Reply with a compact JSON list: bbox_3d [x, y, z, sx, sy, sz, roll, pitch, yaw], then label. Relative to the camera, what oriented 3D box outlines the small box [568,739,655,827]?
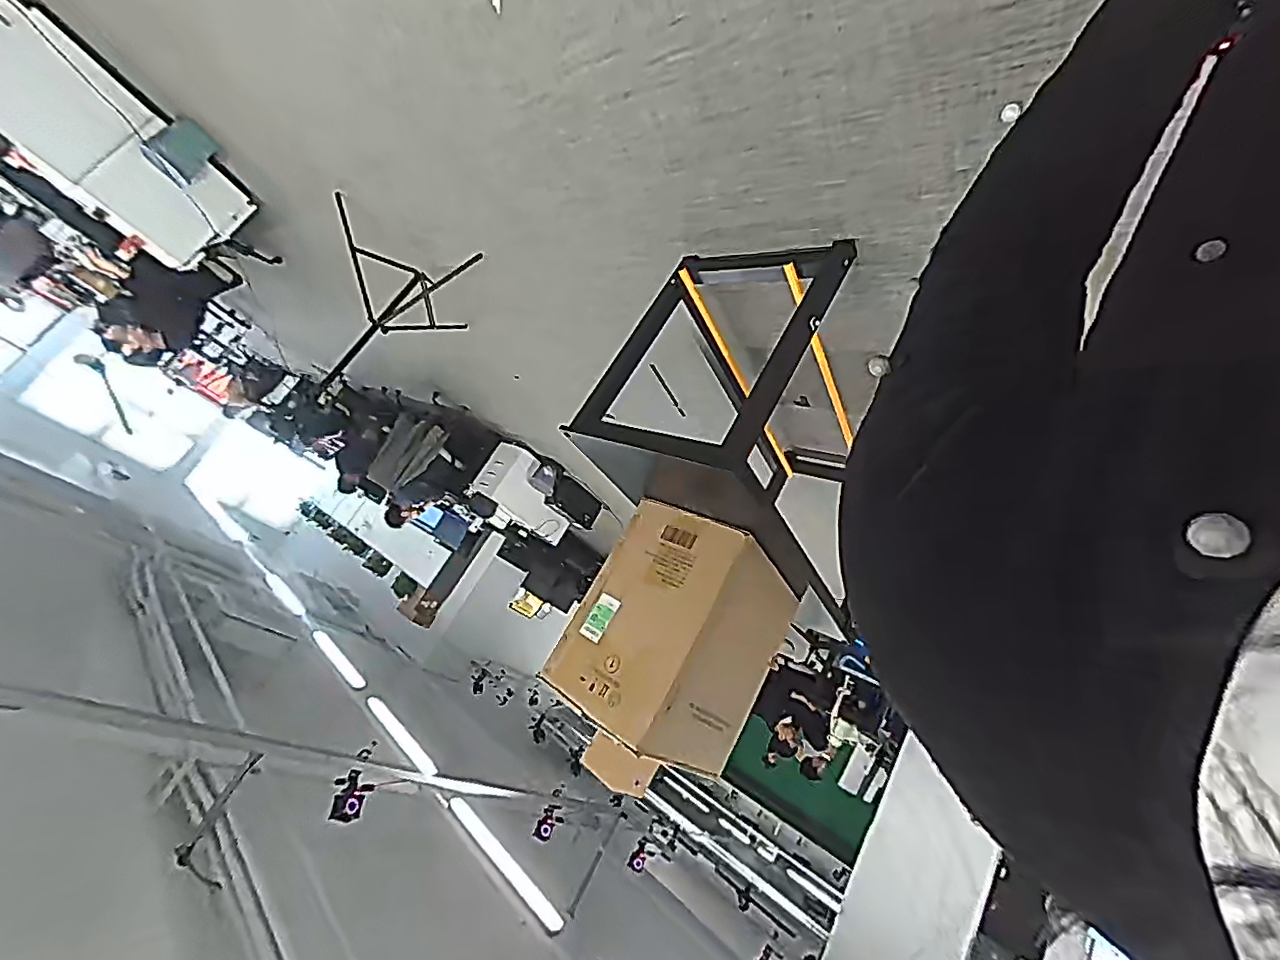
[{"bbox_3d":[-0.081,0.935,1.673,0.168,0.176,0.179,18,159,40],"label":"small box"}]
